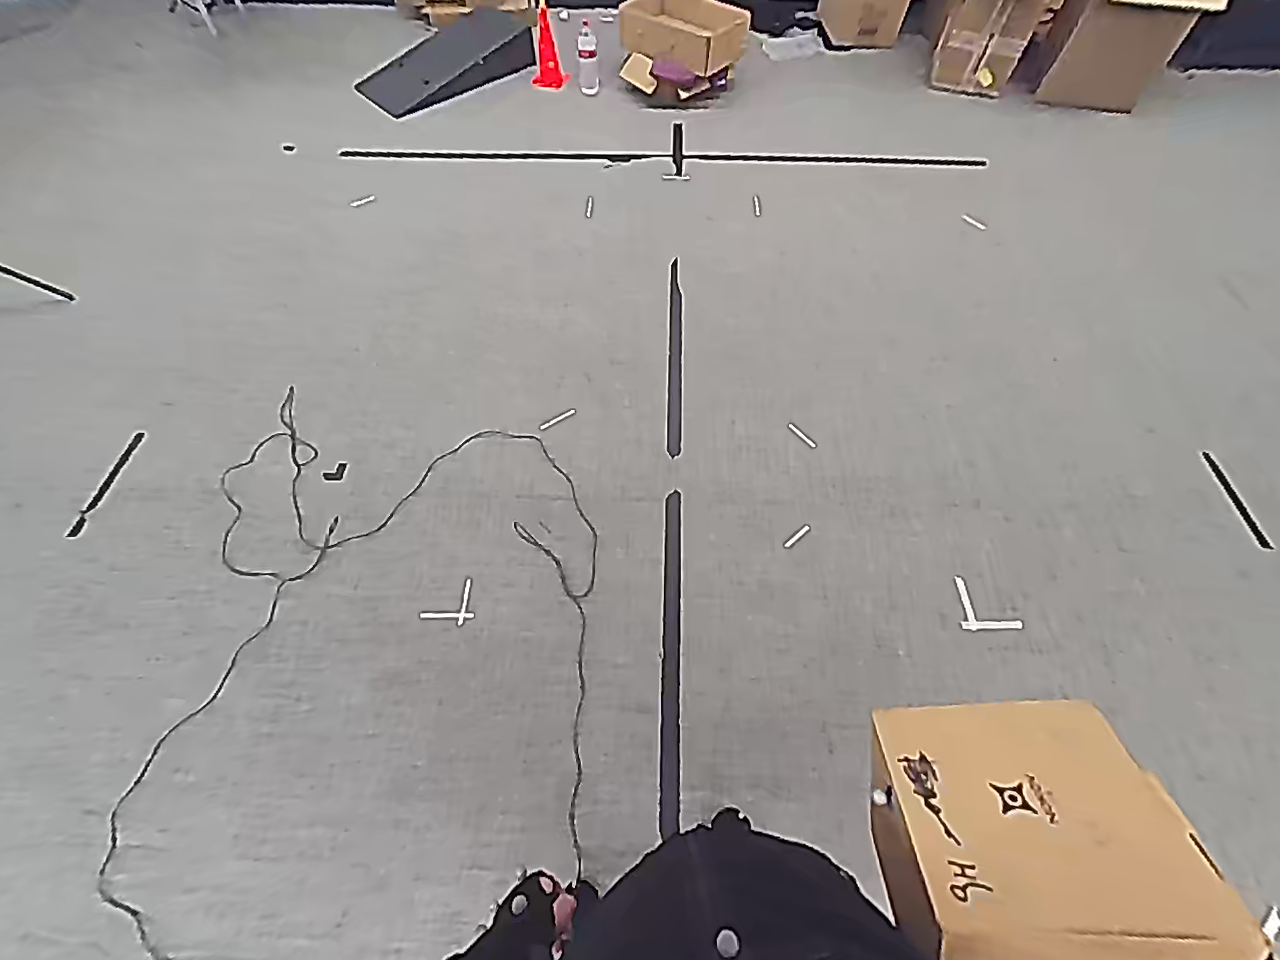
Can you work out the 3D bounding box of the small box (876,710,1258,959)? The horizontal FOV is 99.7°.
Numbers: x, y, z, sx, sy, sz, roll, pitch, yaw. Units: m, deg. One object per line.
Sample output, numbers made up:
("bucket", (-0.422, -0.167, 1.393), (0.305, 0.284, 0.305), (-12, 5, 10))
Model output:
("small box", (0.300, 0.311, 0.434), (0.179, 0.176, 0.168), (-7, 25, 11))
